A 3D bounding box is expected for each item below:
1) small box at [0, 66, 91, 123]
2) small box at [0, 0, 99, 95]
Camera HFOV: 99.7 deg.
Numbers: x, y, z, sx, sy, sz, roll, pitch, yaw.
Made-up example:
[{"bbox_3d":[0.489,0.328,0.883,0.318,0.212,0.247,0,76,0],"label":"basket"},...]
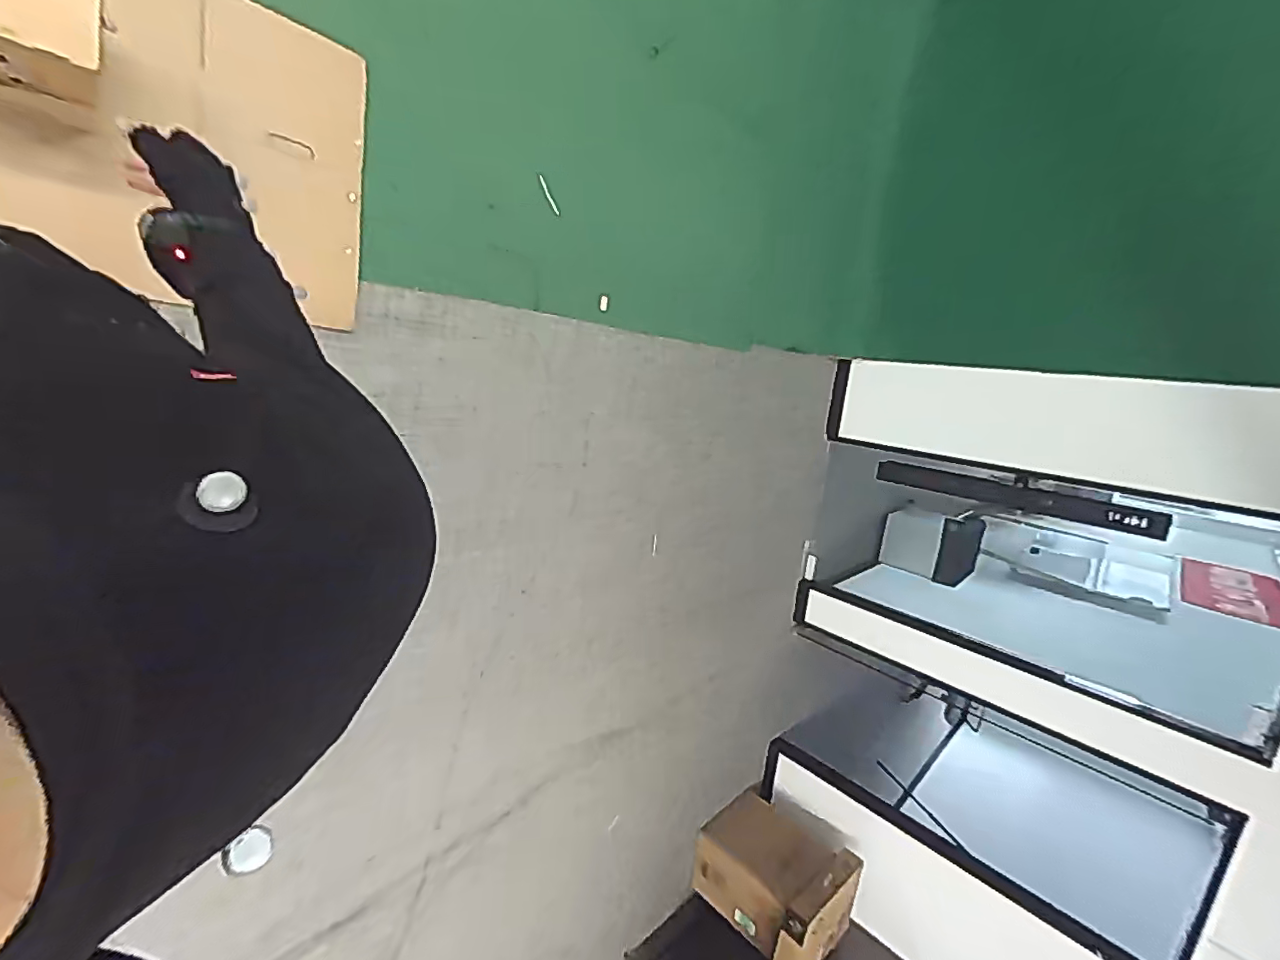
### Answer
[{"bbox_3d":[-0.967,-0.690,0.834,0.168,0.176,0.179,0,102,-46],"label":"small box"},{"bbox_3d":[-0.847,-0.667,0.726,0.168,0.176,0.179,1,102,-46],"label":"small box"}]
